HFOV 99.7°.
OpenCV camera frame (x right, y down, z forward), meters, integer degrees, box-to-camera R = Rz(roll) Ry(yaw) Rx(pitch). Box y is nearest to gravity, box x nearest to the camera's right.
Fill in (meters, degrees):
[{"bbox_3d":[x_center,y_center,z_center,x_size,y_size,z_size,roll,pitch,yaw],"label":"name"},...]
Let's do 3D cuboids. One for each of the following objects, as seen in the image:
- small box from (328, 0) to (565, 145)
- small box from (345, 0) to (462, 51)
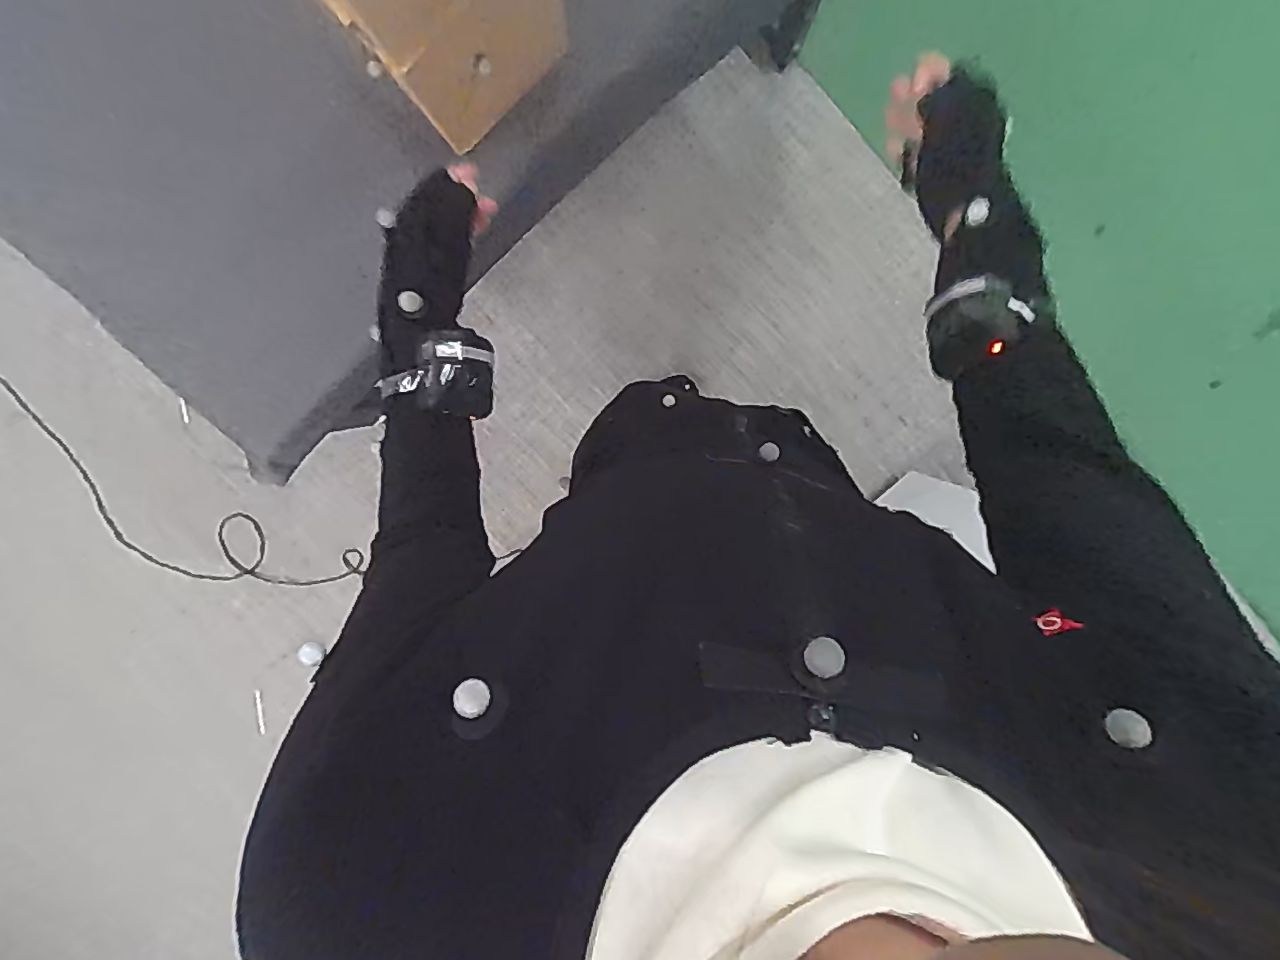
[{"bbox_3d":[-0.196,-0.479,0.529,0.179,0.176,0.168,-40,96,8],"label":"small box"},{"bbox_3d":[-0.205,-0.460,0.366,0.168,0.176,0.179,-43,94,8],"label":"small box"}]
